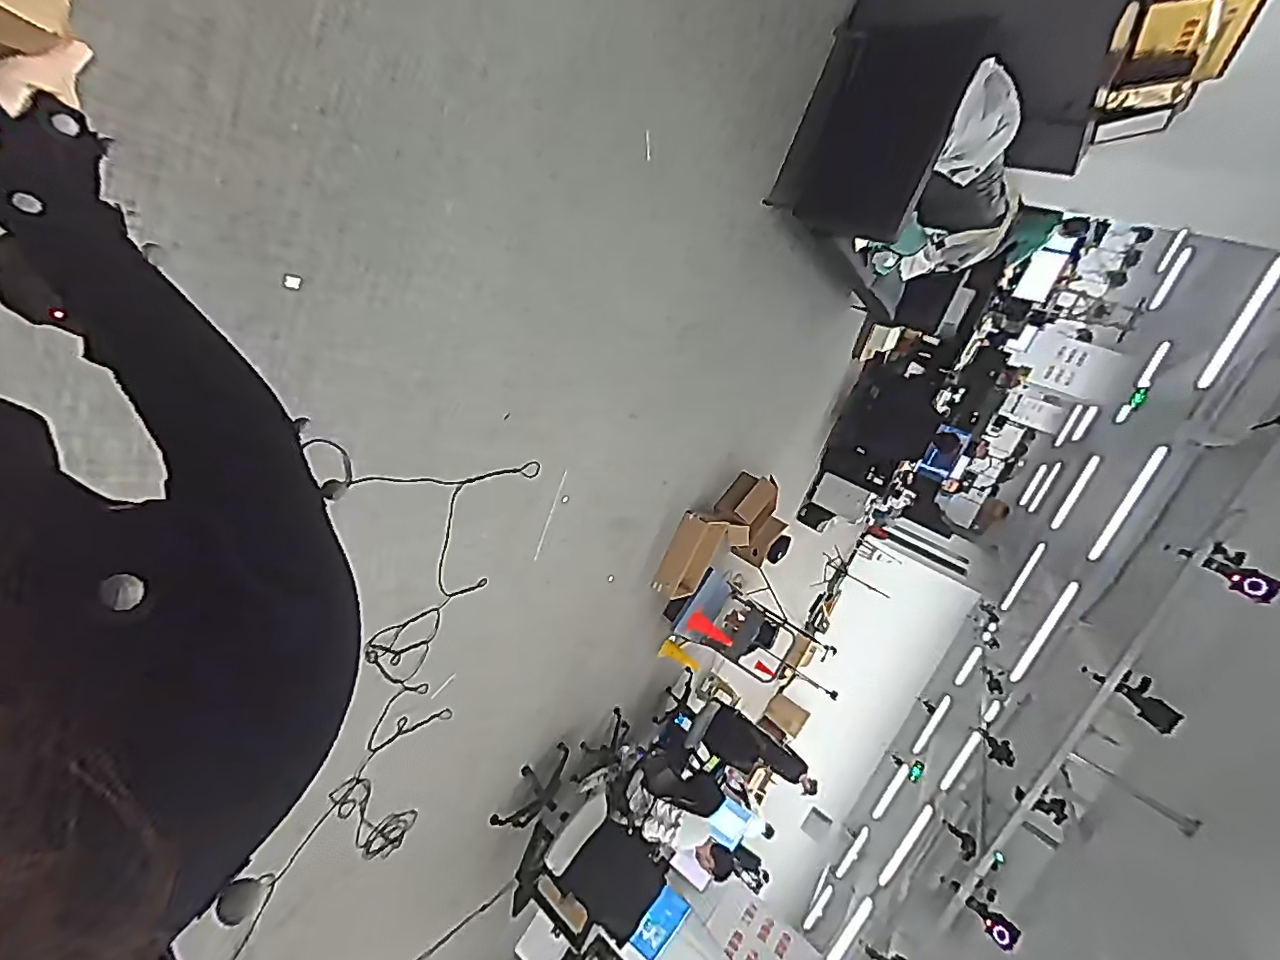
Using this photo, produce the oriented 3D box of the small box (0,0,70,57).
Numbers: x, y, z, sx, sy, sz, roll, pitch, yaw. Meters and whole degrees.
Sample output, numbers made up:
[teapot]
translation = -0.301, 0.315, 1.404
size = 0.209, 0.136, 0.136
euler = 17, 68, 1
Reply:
[small box]
translation = -0.419, -0.355, 0.273
size = 0.179, 0.176, 0.168
euler = 10, 99, -59
